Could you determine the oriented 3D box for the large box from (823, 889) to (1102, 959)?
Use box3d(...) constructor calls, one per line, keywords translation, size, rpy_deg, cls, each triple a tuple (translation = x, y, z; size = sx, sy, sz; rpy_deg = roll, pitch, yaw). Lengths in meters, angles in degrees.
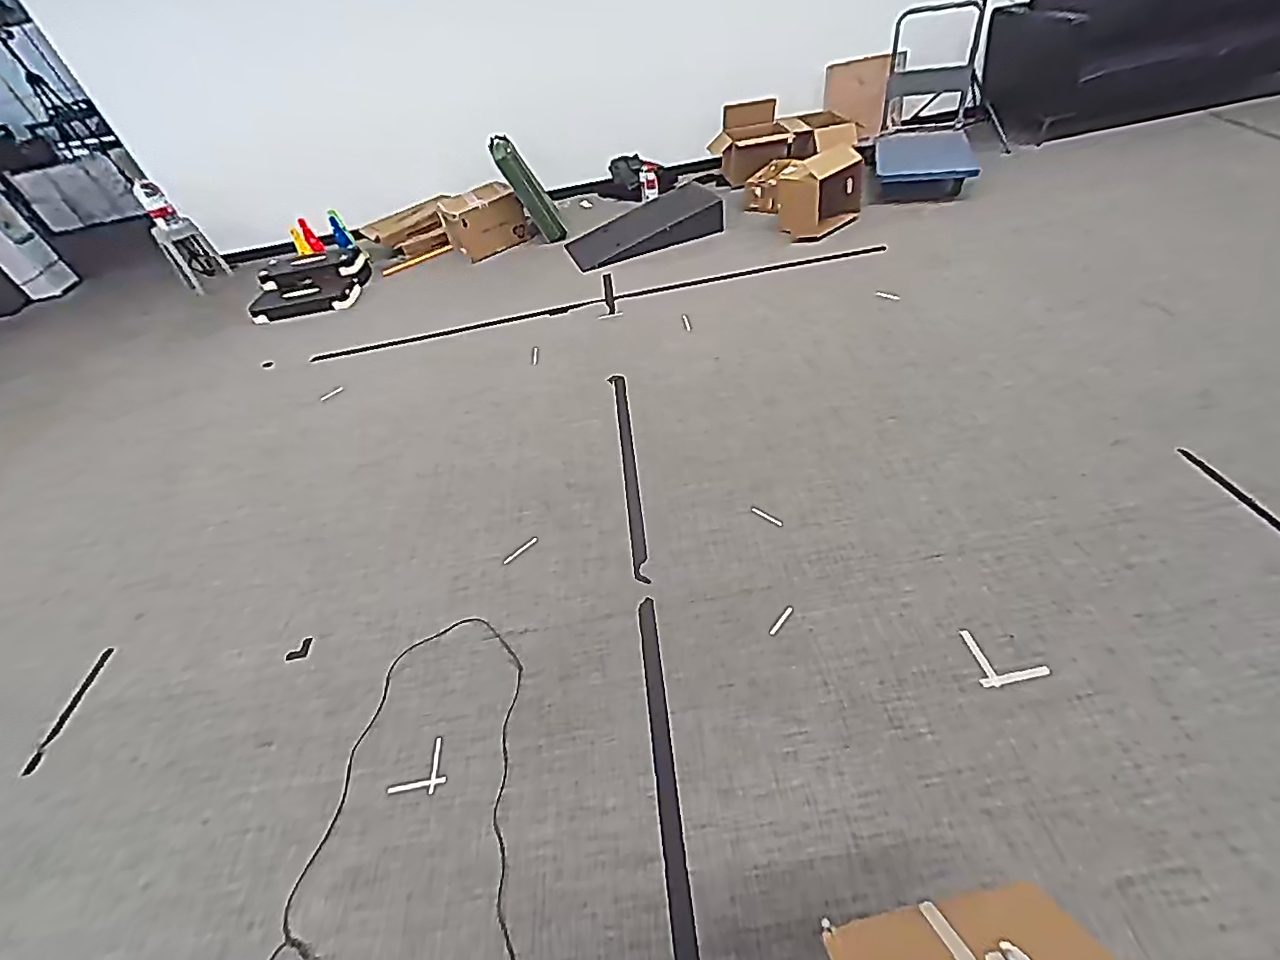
box3d(translation=(0.446, 0.749, 0.571), size=(0.320, 0.408, 0.320), rpy_deg=(-13, 81, 0), cls="large box")
